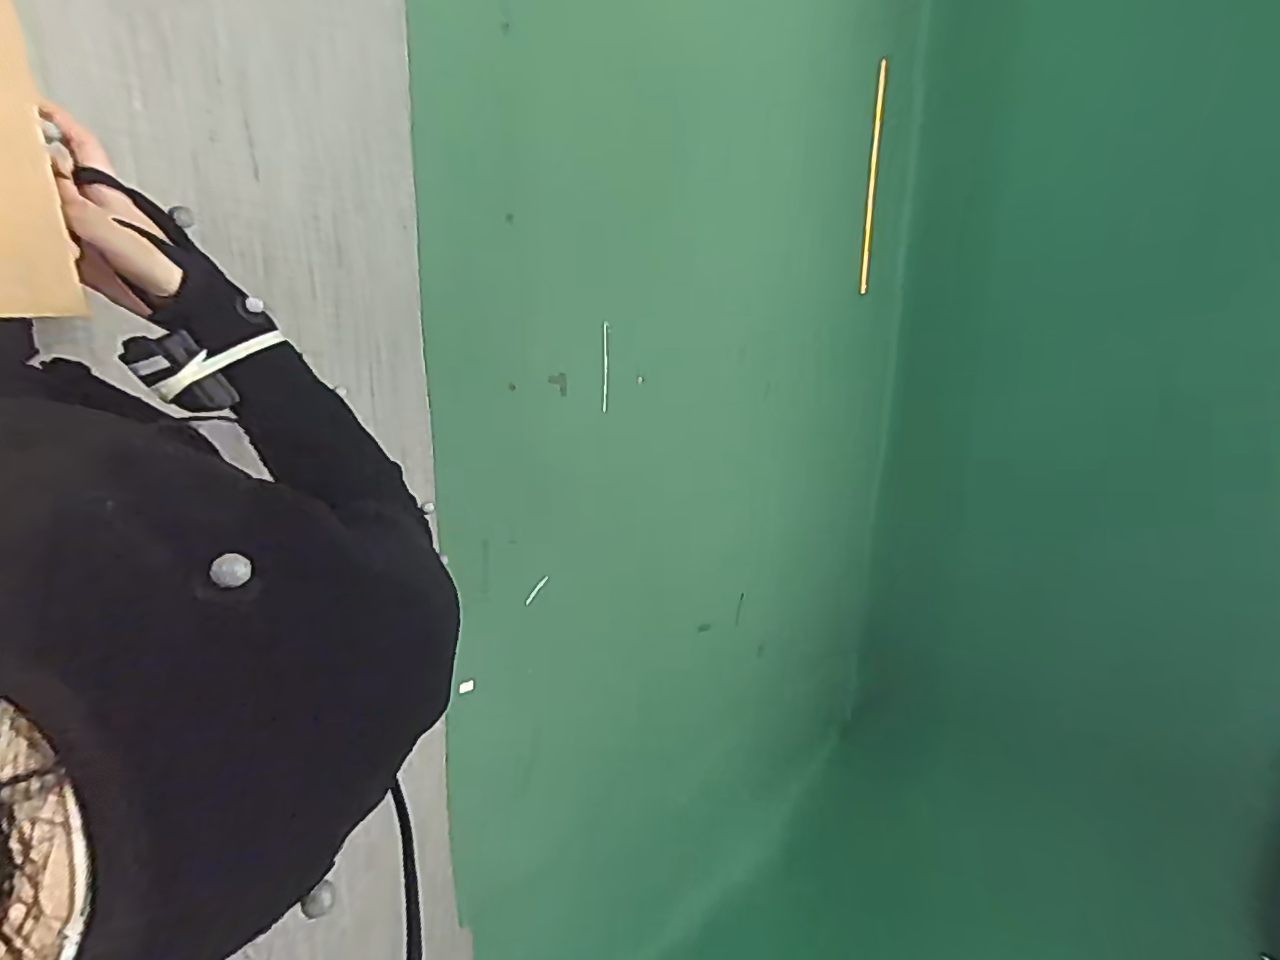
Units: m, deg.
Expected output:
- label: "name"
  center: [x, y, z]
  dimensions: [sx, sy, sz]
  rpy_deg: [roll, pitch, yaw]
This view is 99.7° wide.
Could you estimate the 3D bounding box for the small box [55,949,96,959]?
- label: "small box"
  center: [-1.219, 1.118, 1.099]
  dimensions: [0.168, 0.176, 0.179]
  rpy_deg: [-8, 104, -44]
